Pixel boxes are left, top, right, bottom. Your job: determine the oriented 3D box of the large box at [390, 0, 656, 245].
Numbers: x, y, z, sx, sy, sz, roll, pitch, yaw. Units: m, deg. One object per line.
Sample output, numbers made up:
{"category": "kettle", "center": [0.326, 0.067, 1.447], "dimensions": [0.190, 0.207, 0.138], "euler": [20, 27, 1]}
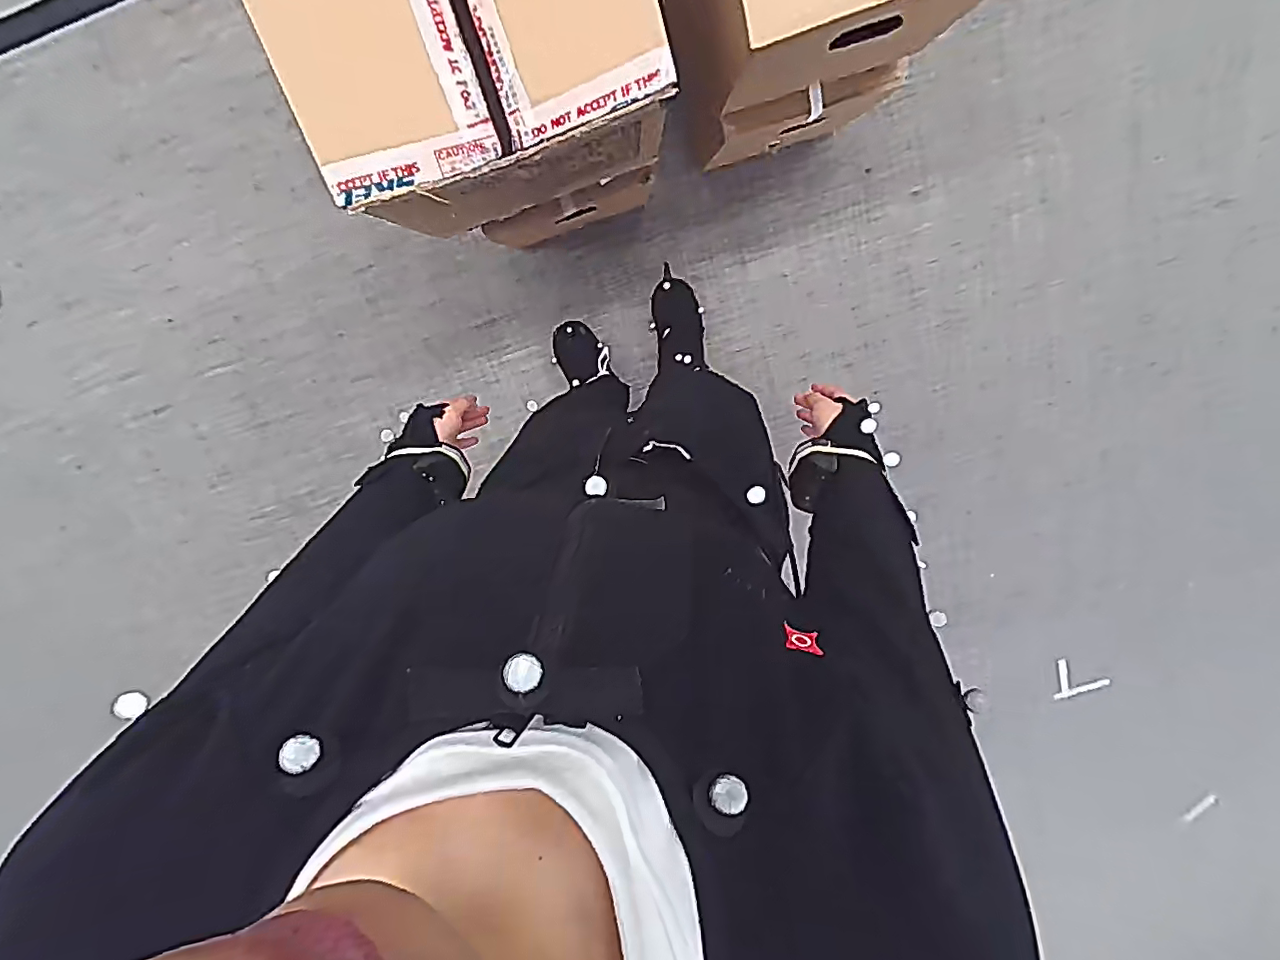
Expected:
{"category": "large box", "center": [-0.188, -0.696, 0.995], "dimensions": [0.320, 0.320, 0.408], "euler": [-18, 110, 5]}
